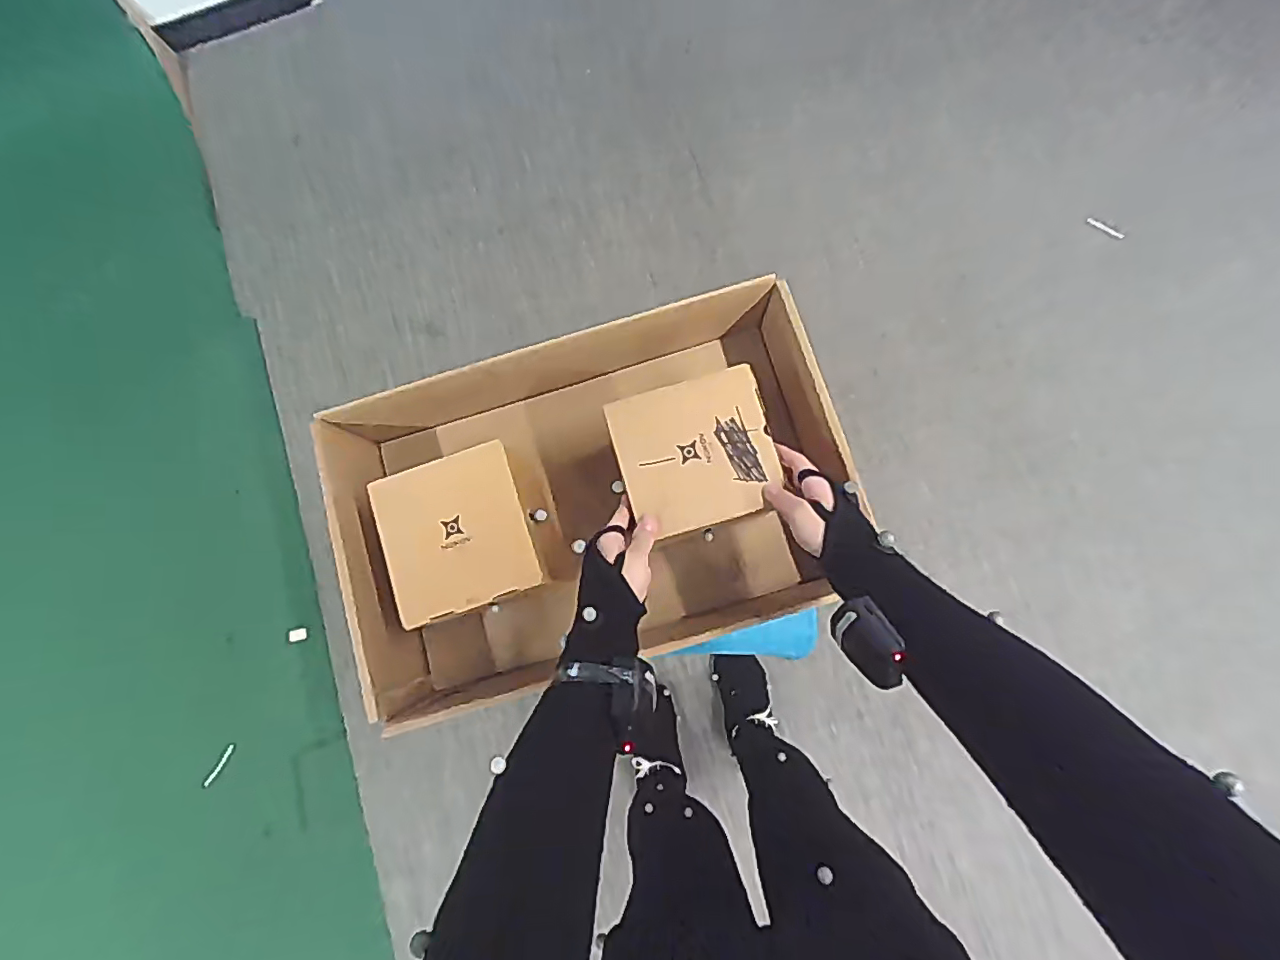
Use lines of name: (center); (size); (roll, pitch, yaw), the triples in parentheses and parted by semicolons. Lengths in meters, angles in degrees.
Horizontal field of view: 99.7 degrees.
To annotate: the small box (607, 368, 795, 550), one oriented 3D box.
small box: (0.068, -0.015, 0.677); (0.179, 0.176, 0.168); (-17, 79, 0)
